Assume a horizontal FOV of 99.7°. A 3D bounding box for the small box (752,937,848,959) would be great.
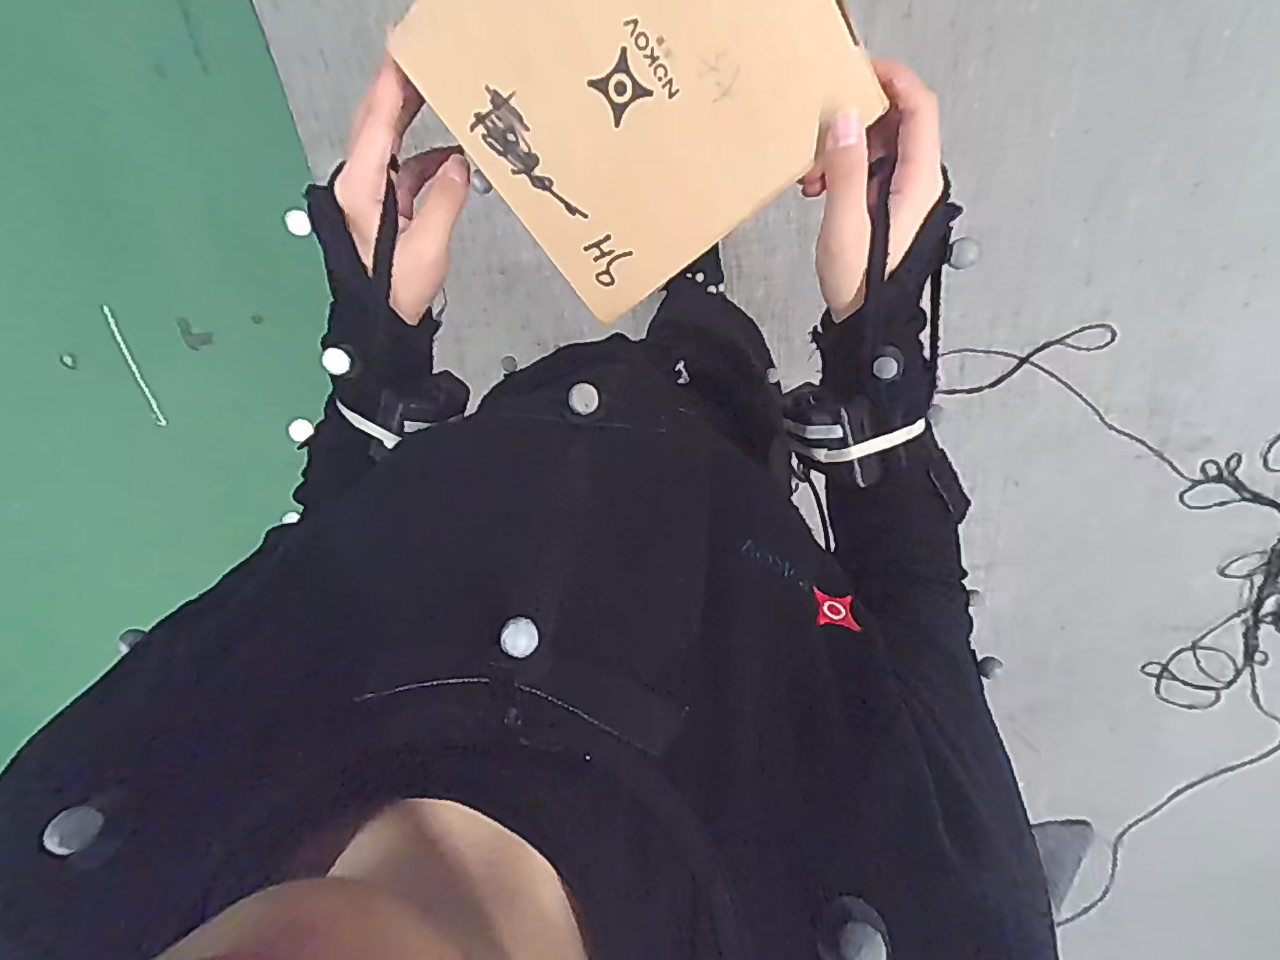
[{"bbox_3d":[0.298,0.932,0.928,0.168,0.176,0.179,-15,111,11],"label":"small box"}]
